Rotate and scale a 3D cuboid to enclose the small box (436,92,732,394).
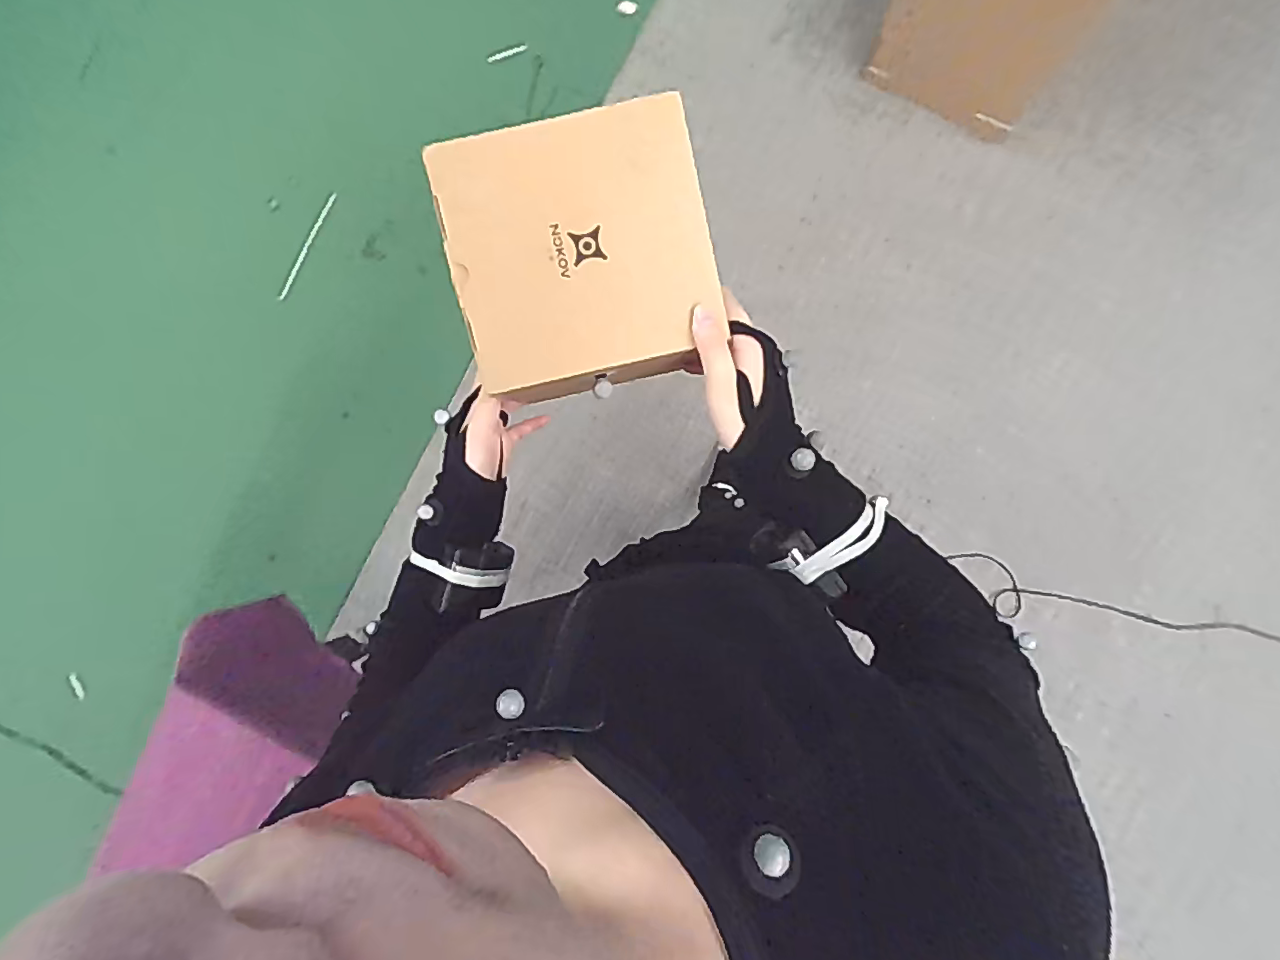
[{"bbox_3d":[-0.038,-0.170,0.444,0.179,0.176,0.168,-12,96,0],"label":"small box"}]
